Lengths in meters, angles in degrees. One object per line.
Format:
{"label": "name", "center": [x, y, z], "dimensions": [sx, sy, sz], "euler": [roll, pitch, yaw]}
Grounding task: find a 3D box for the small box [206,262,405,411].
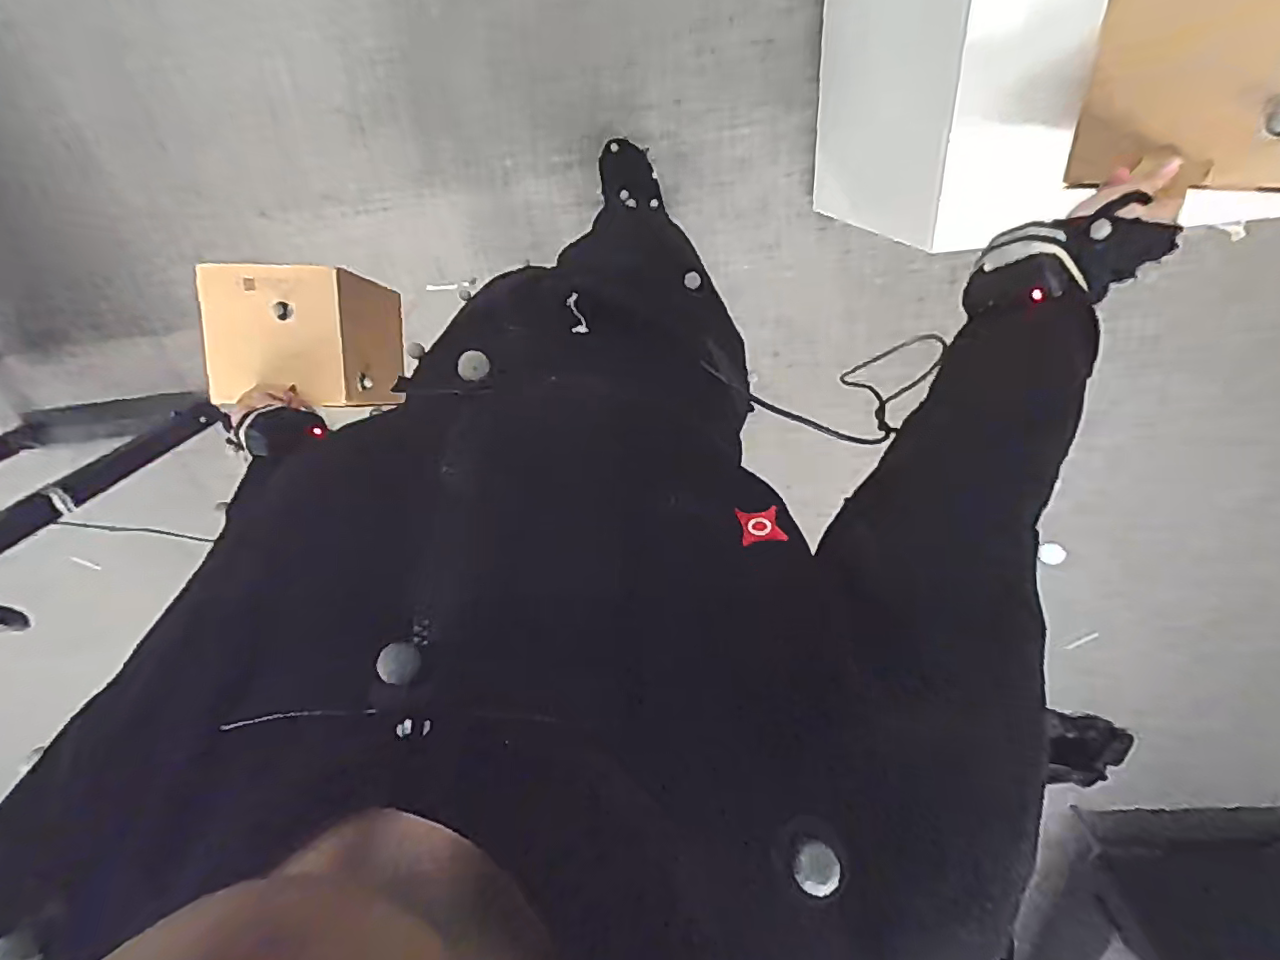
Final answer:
{"label": "small box", "center": [-0.434, -0.182, 0.726], "dimensions": [0.168, 0.179, 0.176], "euler": [1, 98, 0]}
